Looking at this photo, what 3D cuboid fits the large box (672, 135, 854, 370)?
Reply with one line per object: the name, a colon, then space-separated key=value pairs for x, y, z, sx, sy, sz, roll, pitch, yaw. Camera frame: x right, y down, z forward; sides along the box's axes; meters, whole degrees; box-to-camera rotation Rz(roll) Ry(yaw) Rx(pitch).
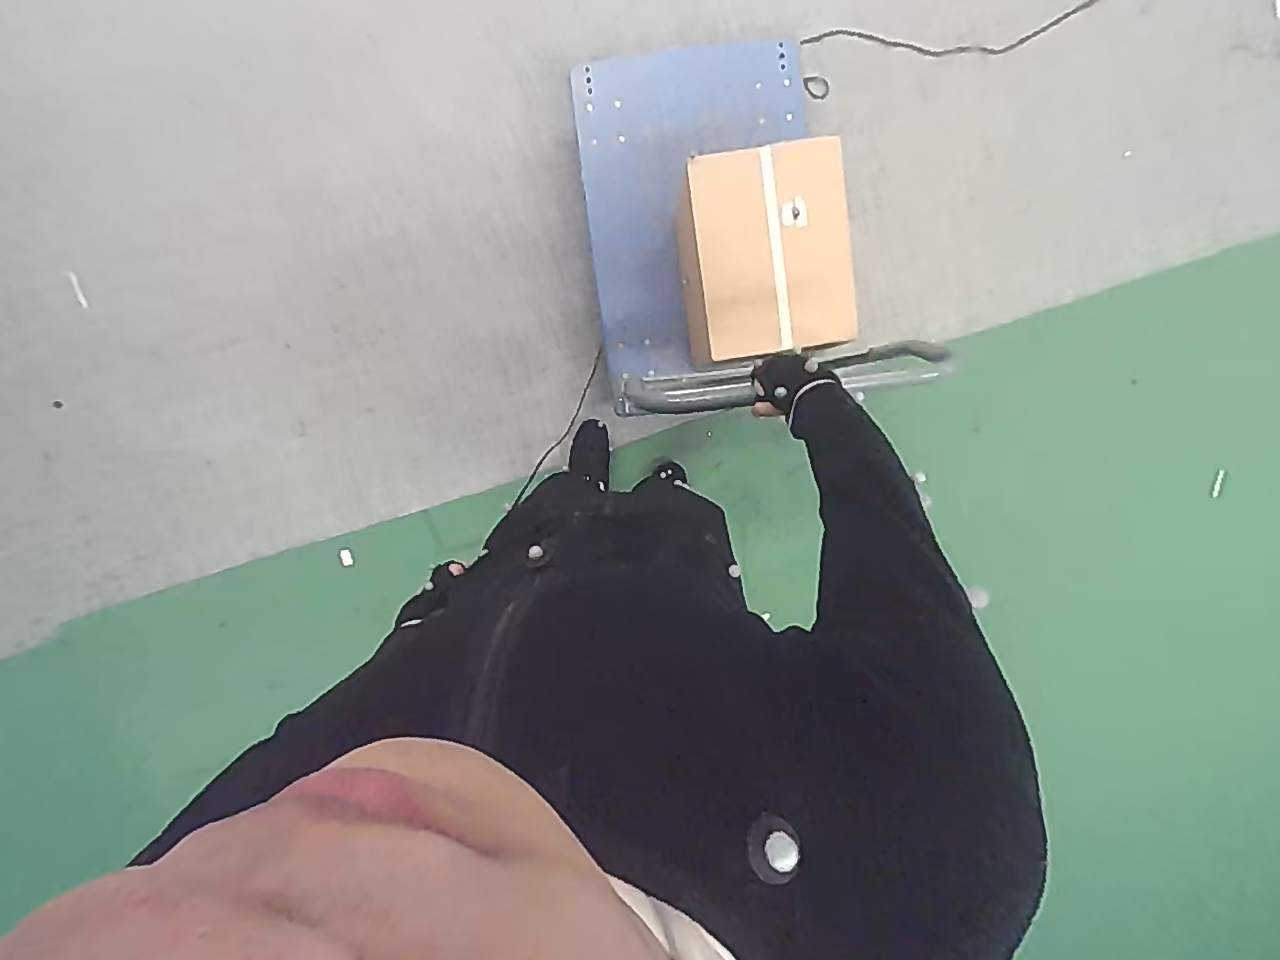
large box: x=0.261 y=-0.486 z=1.243 sx=0.320 sy=0.320 sz=0.408 roll=-9 pitch=97 yaw=-1
